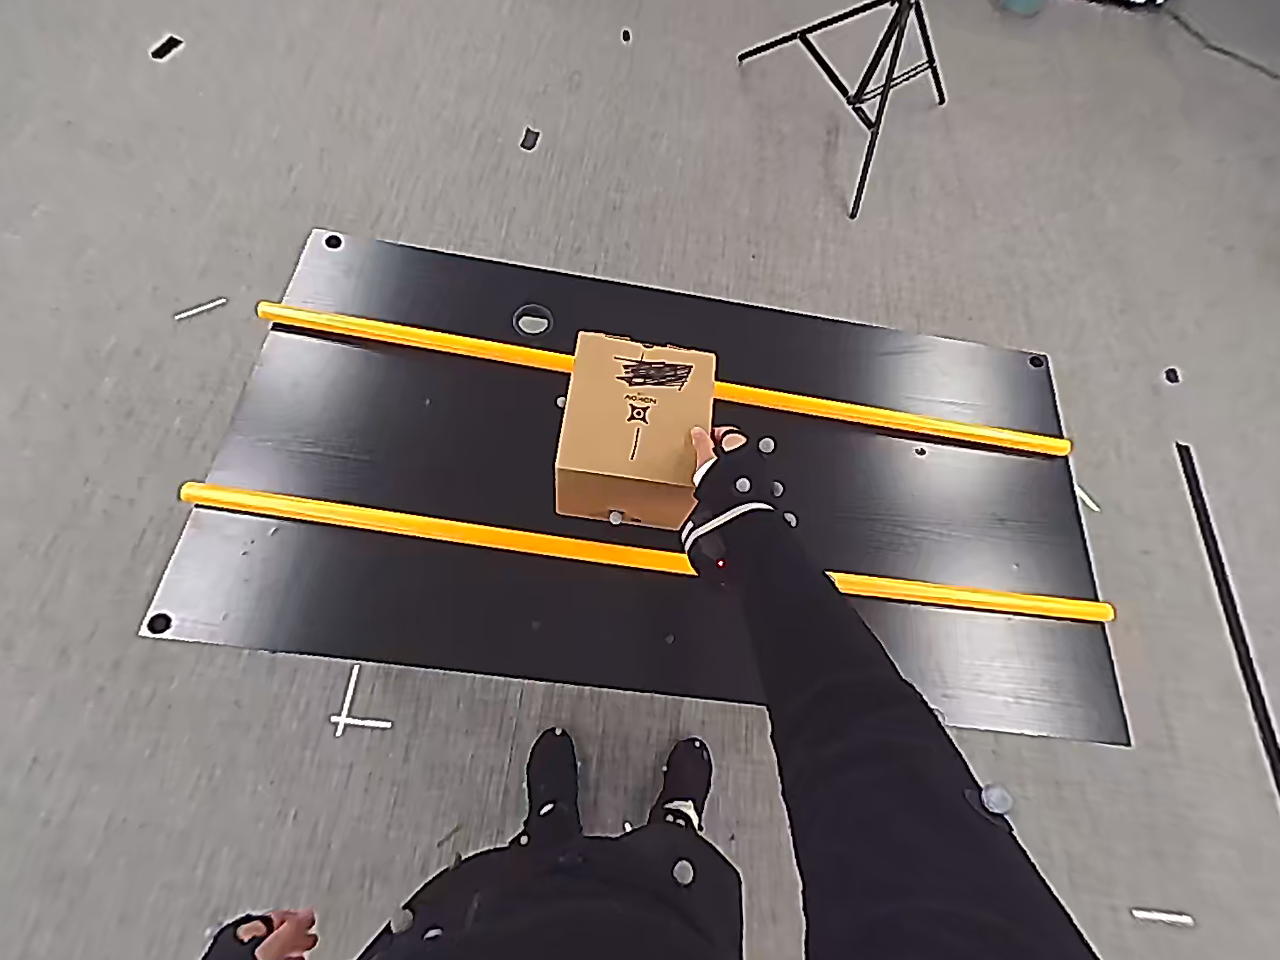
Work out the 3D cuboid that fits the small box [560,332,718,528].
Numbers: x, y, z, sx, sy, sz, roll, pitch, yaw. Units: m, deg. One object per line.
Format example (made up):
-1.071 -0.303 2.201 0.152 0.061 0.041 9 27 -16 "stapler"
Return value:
-0.007 -0.054 0.682 0.168 0.176 0.179 8 69 -4 "small box"
